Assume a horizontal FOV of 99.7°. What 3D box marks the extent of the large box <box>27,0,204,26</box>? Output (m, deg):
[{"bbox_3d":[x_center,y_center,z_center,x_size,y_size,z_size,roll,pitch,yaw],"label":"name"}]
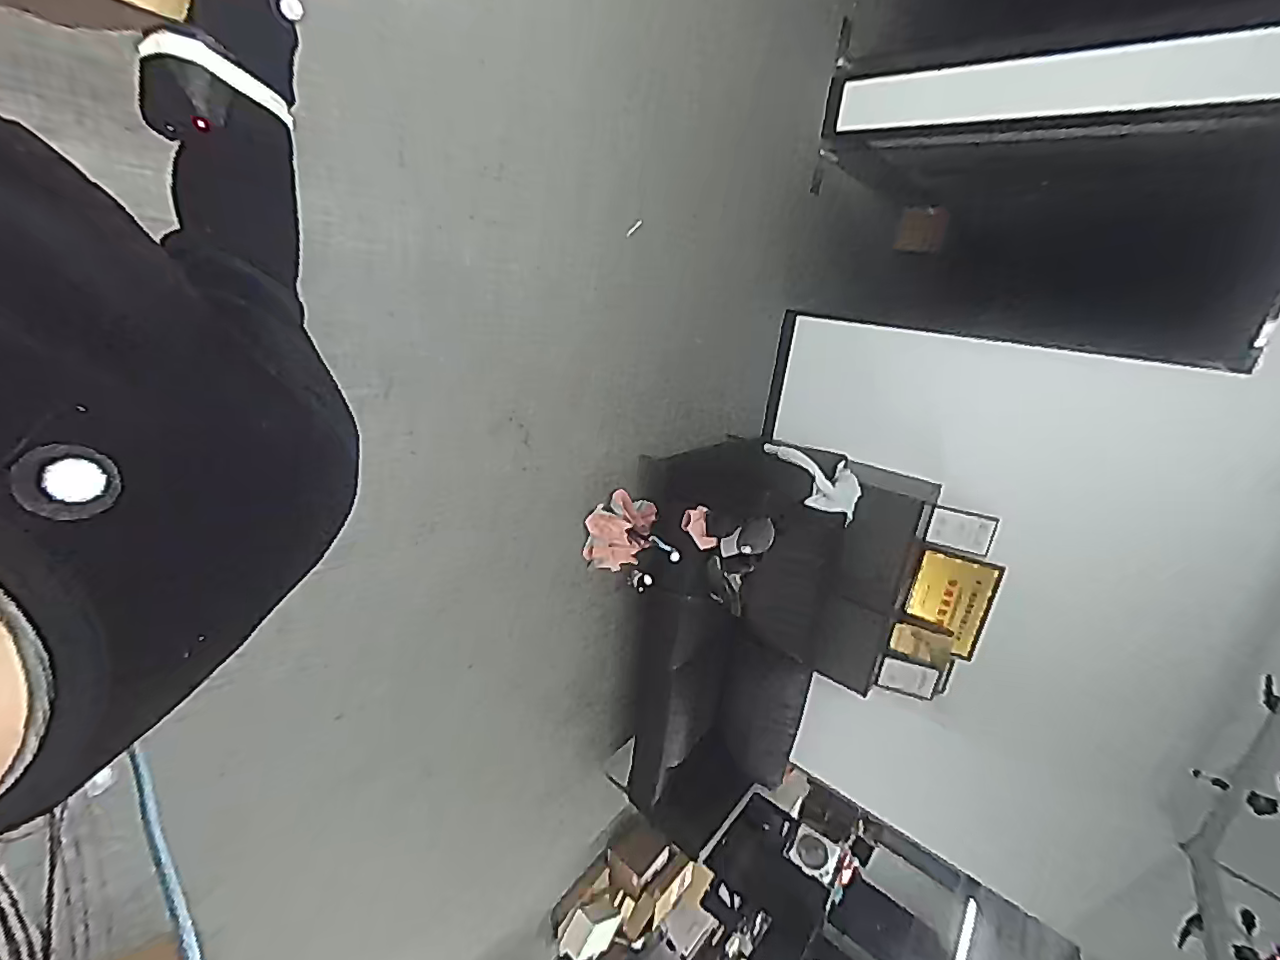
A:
[{"bbox_3d":[-0.540,-0.515,0.282,0.408,0.320,0.320,-20,129,-55],"label":"large box"}]
